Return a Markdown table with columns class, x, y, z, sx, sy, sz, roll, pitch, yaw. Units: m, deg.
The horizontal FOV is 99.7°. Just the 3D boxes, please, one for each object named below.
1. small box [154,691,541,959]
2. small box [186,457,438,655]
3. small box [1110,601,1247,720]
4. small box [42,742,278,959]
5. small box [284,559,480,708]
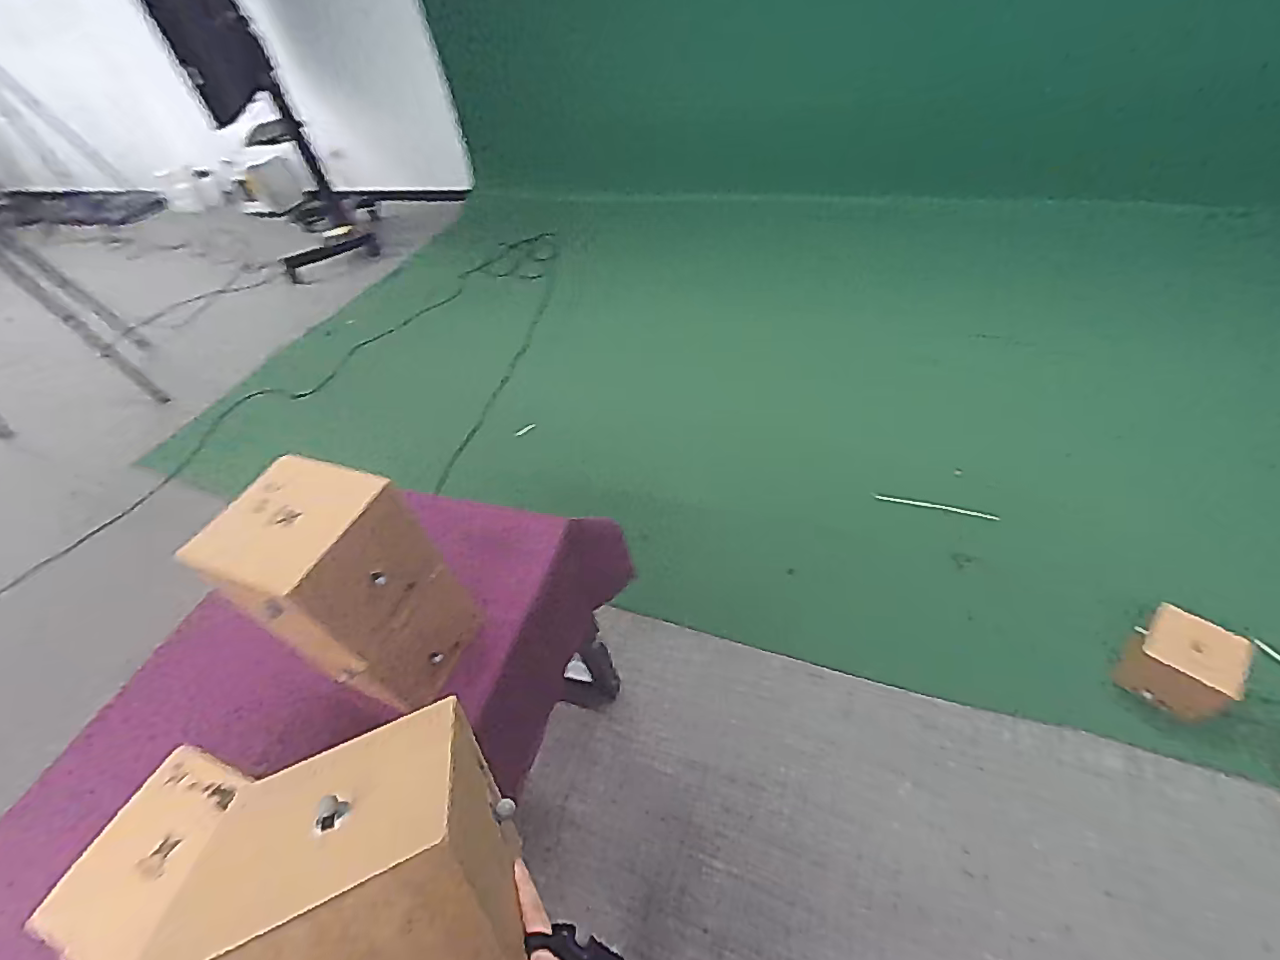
| class | x | y | z | sx | sy | sz | roll | pitch | yaw |
| --- | --- | --- | --- | --- | --- | --- | --- | --- | --- |
| small box | -0.180 | 0.292 | 0.395 | 0.179 | 0.168 | 0.176 | -20 | 13 | -14 |
| small box | -0.393 | 0.098 | 0.684 | 0.179 | 0.176 | 0.168 | 11 | 50 | 19 |
| small box | 1.287 | 0.435 | 1.303 | 0.168 | 0.176 | 0.179 | 32 | 60 | 33 |
| small box | -0.471 | 0.434 | 0.609 | 0.168 | 0.176 | 0.179 | 11 | 51 | 20 |
| small box | -0.373 | 0.211 | 0.803 | 0.179 | 0.176 | 0.168 | 13 | 51 | 20 |
